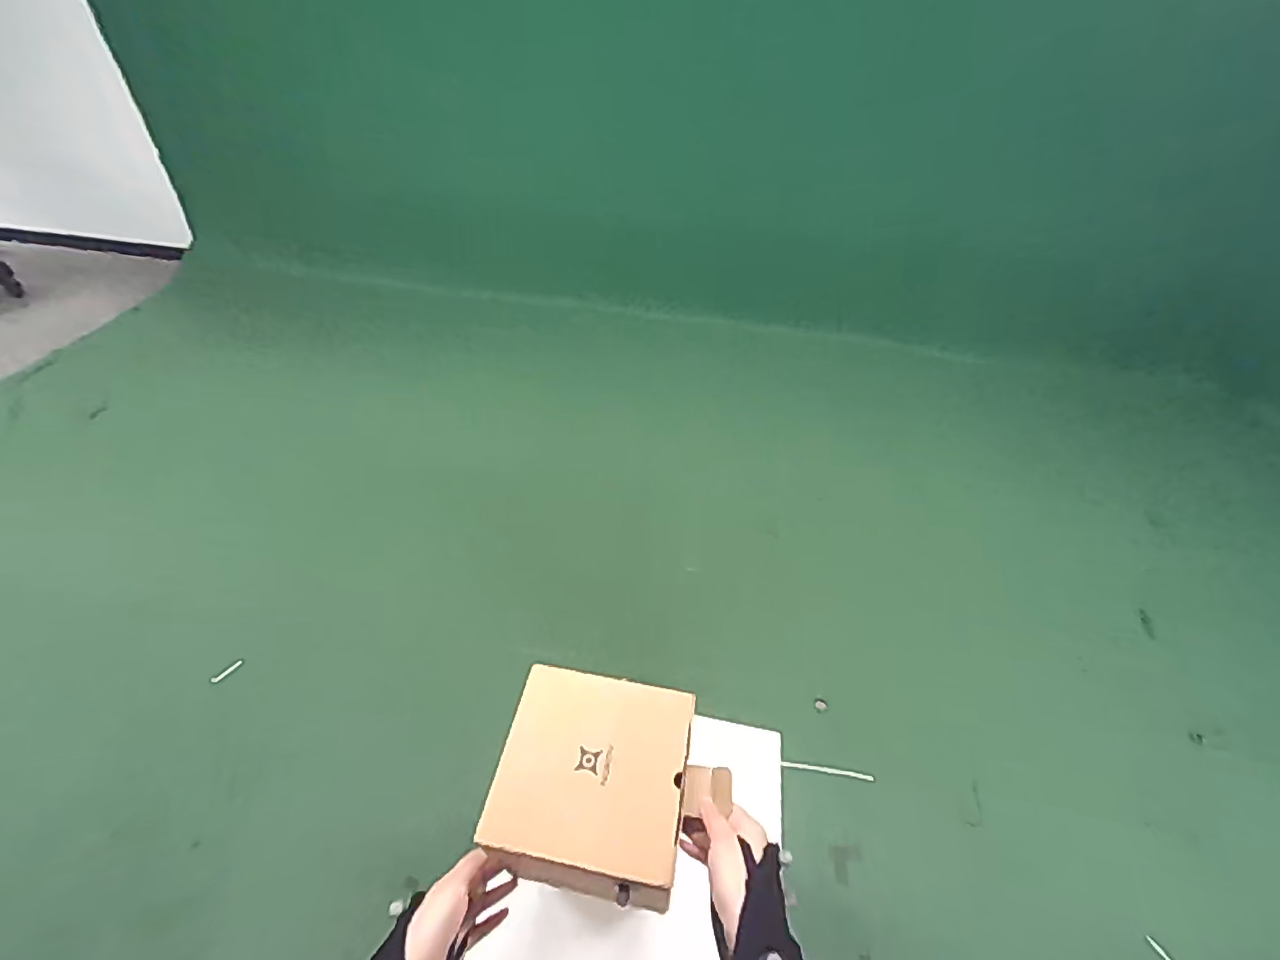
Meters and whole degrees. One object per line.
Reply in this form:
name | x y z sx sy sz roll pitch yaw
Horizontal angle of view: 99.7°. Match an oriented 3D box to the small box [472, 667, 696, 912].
small box | -0.043 0.316 0.552 0.179 0.176 0.168 7 46 7
